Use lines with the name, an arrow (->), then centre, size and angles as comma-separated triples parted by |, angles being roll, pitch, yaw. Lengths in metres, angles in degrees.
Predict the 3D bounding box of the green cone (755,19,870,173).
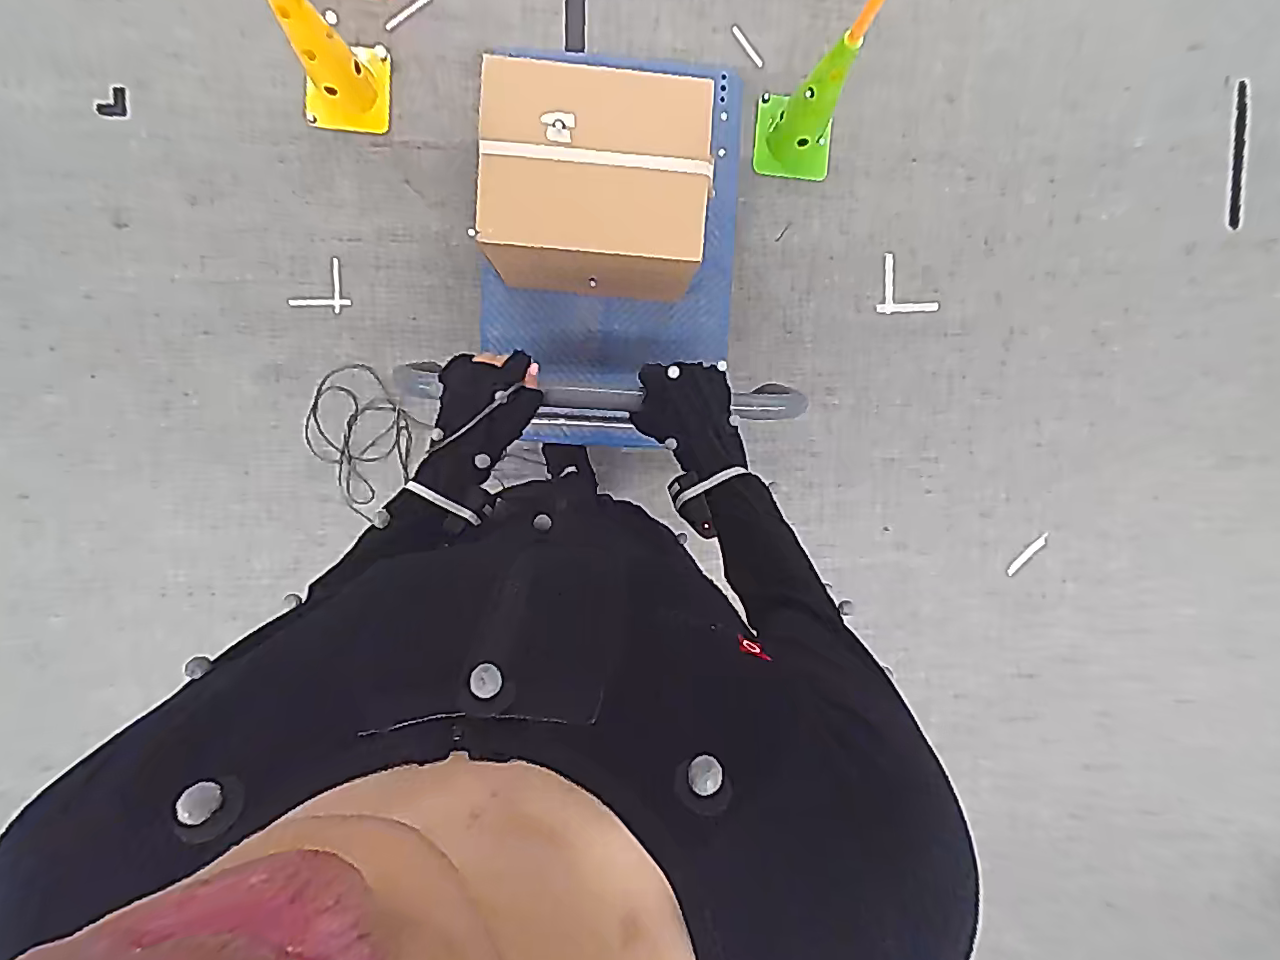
green cone -> 0.416, -0.900, 1.244 | 0.202, 0.368, 0.200 | 4, 94, -5

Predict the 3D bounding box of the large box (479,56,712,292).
large box -> -0.084, -0.580, 1.096 | 0.408, 0.320, 0.320 | 4, 95, -3
